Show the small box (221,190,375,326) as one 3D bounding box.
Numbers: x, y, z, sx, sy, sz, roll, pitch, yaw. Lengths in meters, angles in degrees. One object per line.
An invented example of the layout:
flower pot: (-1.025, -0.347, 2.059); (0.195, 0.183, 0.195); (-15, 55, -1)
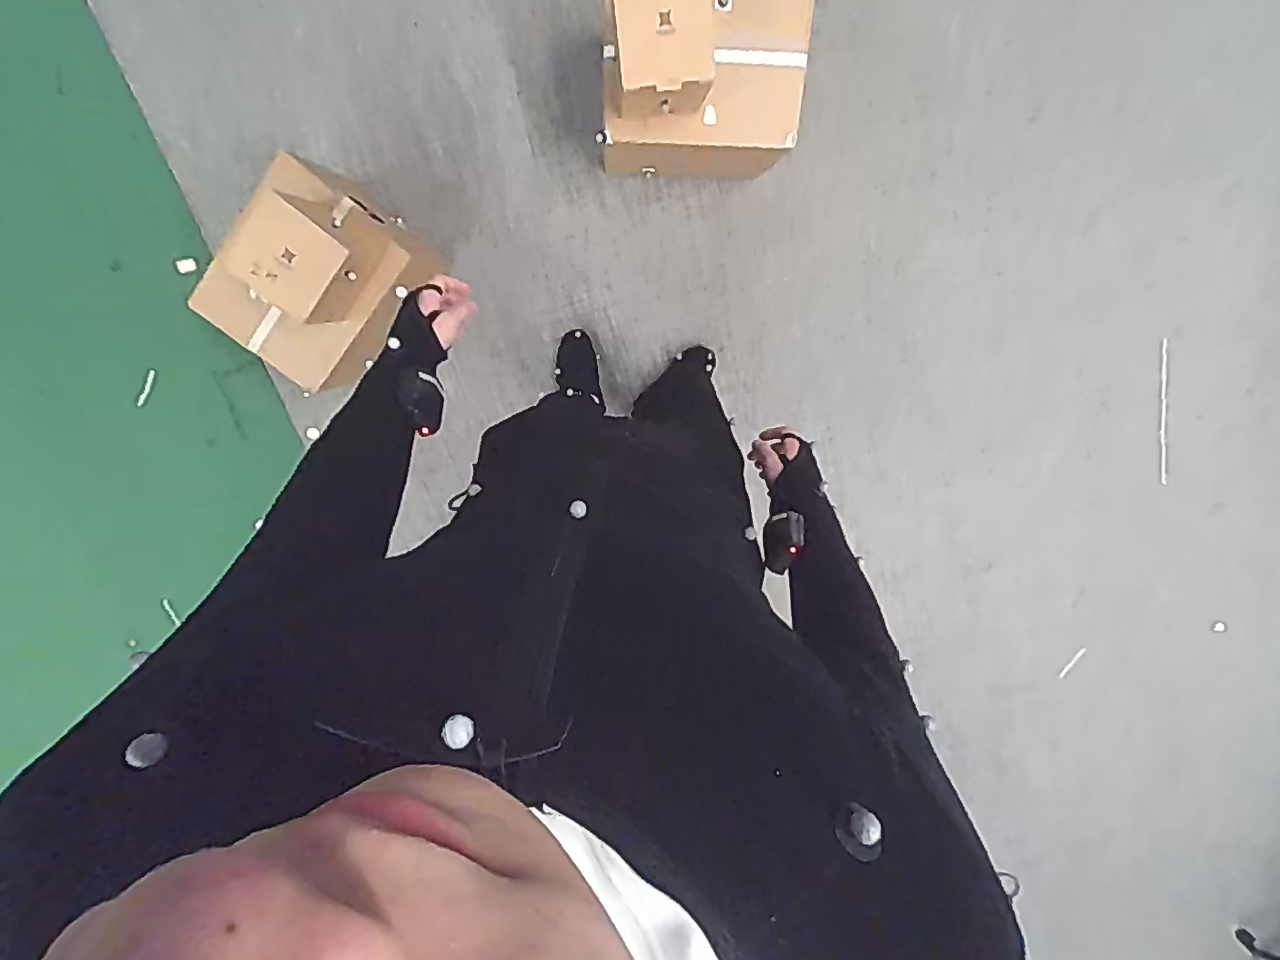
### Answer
small box: (-0.656, -0.429, 1.067); (0.168, 0.176, 0.179); (39, 102, -14)

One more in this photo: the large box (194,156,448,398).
large box: (-0.739, -0.472, 1.309); (0.320, 0.320, 0.408); (39, 103, -12)

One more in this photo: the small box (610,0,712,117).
small box: (0.035, -0.785, 0.987); (0.168, 0.176, 0.179); (-6, 110, -1)
